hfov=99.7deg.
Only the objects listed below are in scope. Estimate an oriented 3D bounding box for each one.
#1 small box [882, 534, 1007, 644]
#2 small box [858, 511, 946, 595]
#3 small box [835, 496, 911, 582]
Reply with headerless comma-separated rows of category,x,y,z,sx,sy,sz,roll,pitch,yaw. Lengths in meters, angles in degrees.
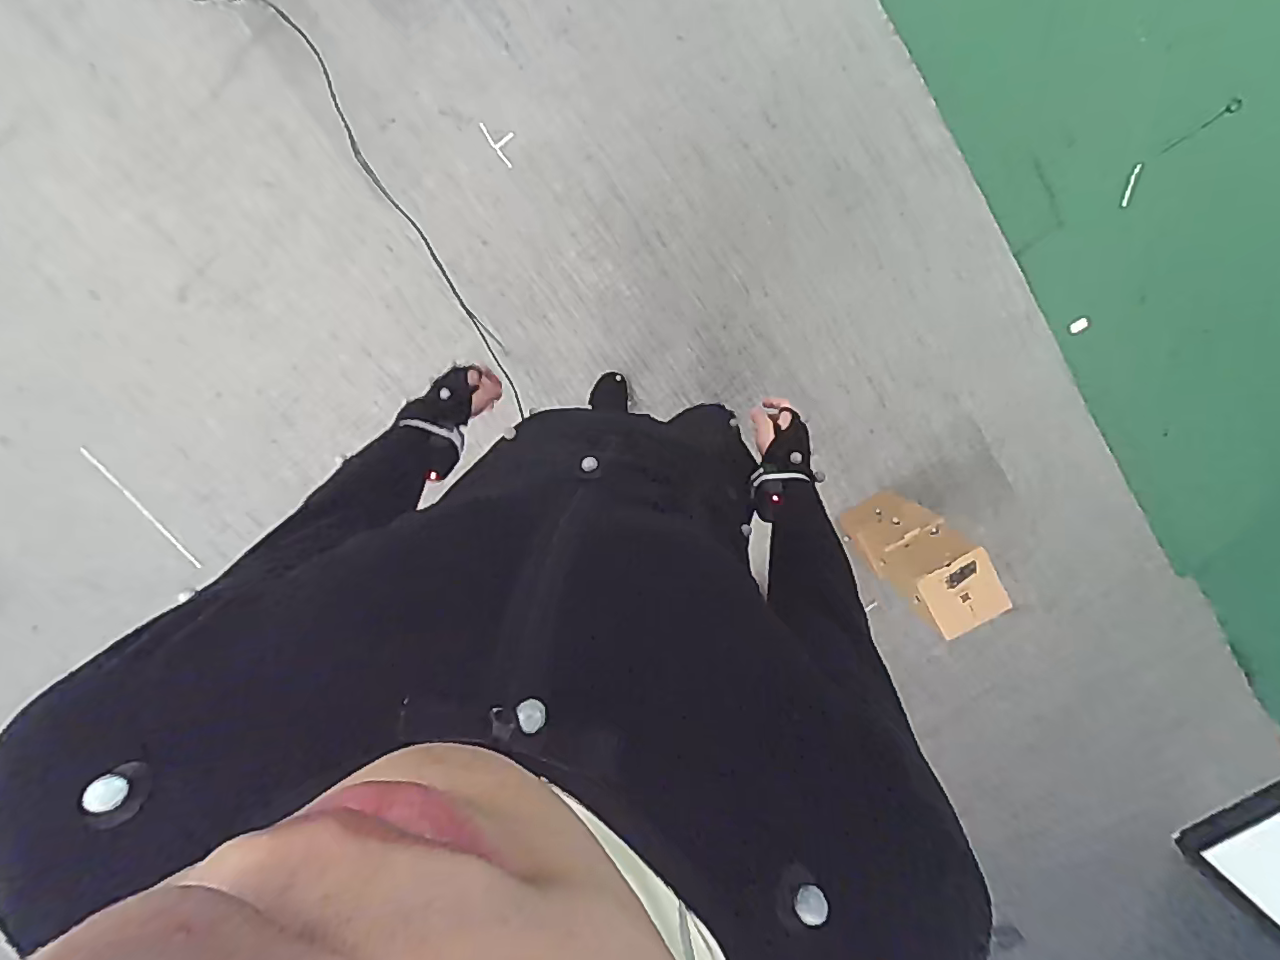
small box,0.712,0.247,1.285,0.168,0.176,0.179,-31,102,6
small box,0.715,0.198,1.442,0.168,0.176,0.179,-30,100,6
small box,0.712,0.167,1.603,0.179,0.176,0.168,-29,101,6
